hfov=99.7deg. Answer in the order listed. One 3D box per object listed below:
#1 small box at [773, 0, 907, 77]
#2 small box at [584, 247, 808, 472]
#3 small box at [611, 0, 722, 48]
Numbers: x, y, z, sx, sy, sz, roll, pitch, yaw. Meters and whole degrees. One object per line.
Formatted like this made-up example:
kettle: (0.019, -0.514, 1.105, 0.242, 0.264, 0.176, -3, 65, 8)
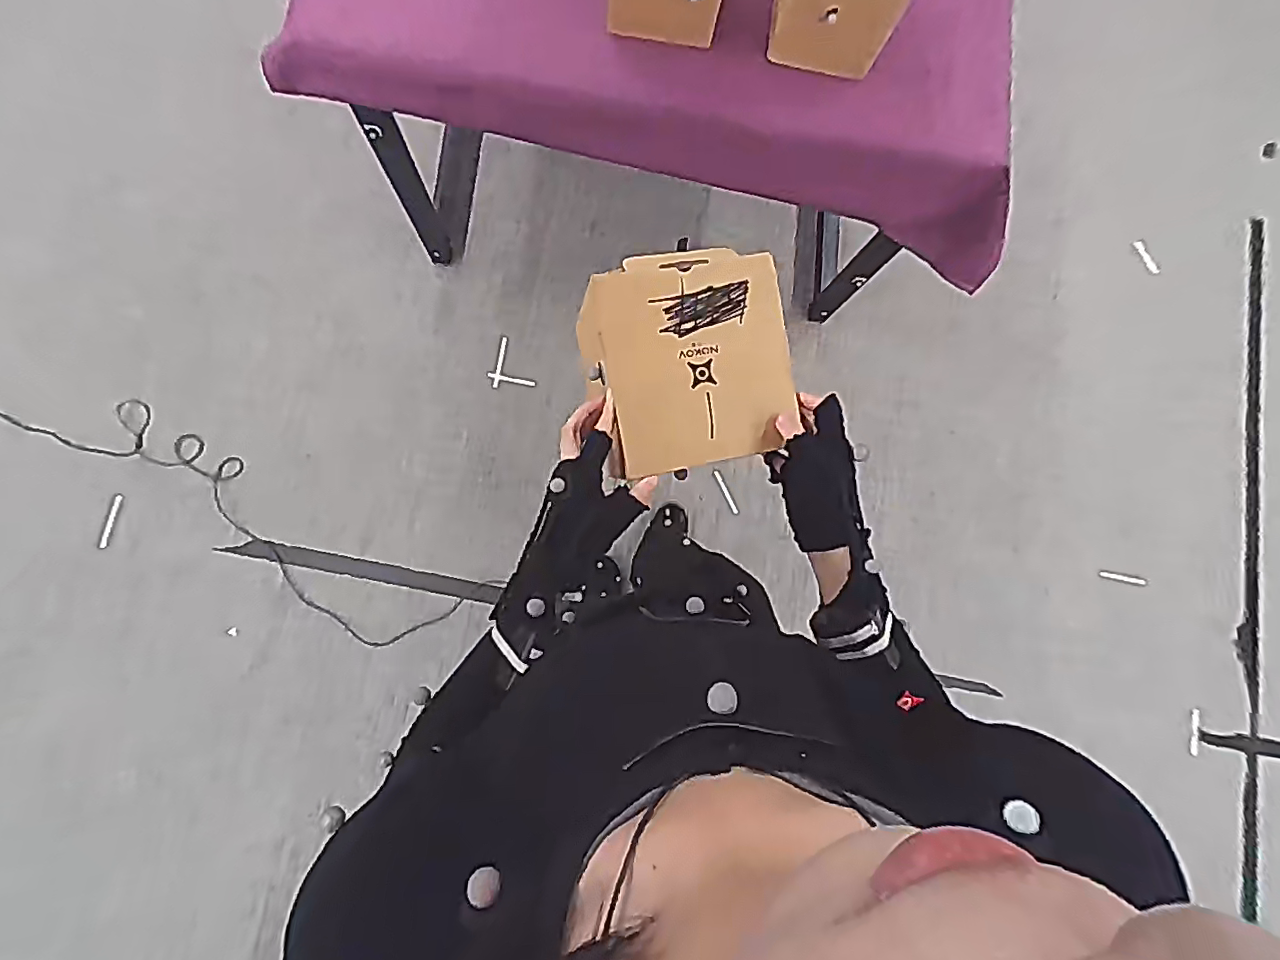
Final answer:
small box: (0.326, -0.796, 0.868, 0.179, 0.176, 0.168, 8, 82, -4)
small box: (0.042, -0.107, 0.547, 0.168, 0.176, 0.179, -12, 93, -10)
small box: (0.049, -0.827, 0.846, 0.179, 0.176, 0.168, 3, 81, -4)
